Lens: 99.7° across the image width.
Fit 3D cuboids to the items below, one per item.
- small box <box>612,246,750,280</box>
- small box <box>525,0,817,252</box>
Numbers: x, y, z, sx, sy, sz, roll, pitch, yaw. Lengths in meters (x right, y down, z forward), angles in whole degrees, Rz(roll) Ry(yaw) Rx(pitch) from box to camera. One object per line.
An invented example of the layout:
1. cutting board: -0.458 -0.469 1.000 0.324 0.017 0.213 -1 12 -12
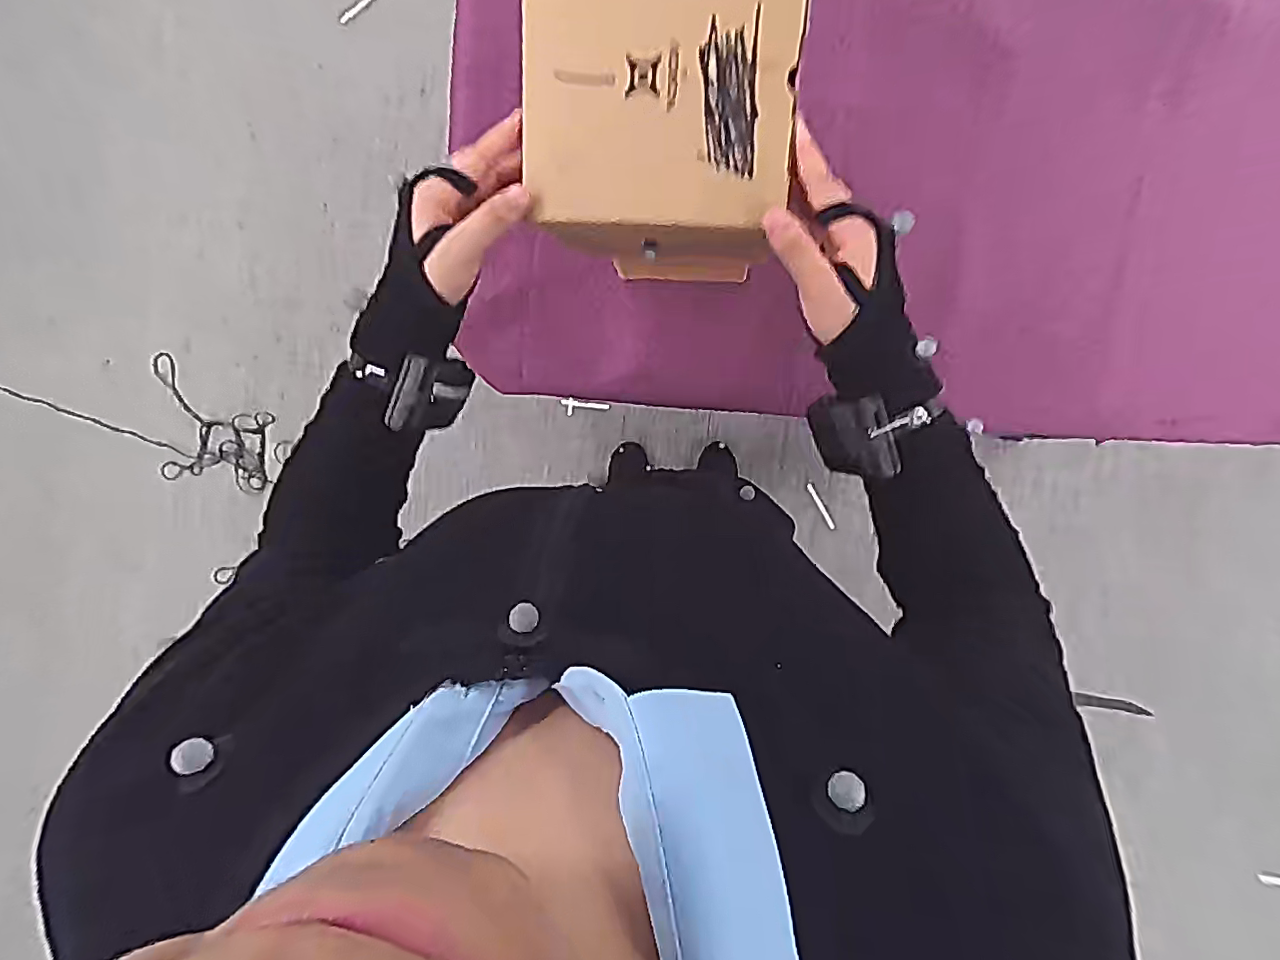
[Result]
1. small box: 0.053 -0.353 0.658 0.179 0.176 0.168 4 94 5
2. small box: 0.026 -0.272 0.406 0.179 0.176 0.168 6 106 9
